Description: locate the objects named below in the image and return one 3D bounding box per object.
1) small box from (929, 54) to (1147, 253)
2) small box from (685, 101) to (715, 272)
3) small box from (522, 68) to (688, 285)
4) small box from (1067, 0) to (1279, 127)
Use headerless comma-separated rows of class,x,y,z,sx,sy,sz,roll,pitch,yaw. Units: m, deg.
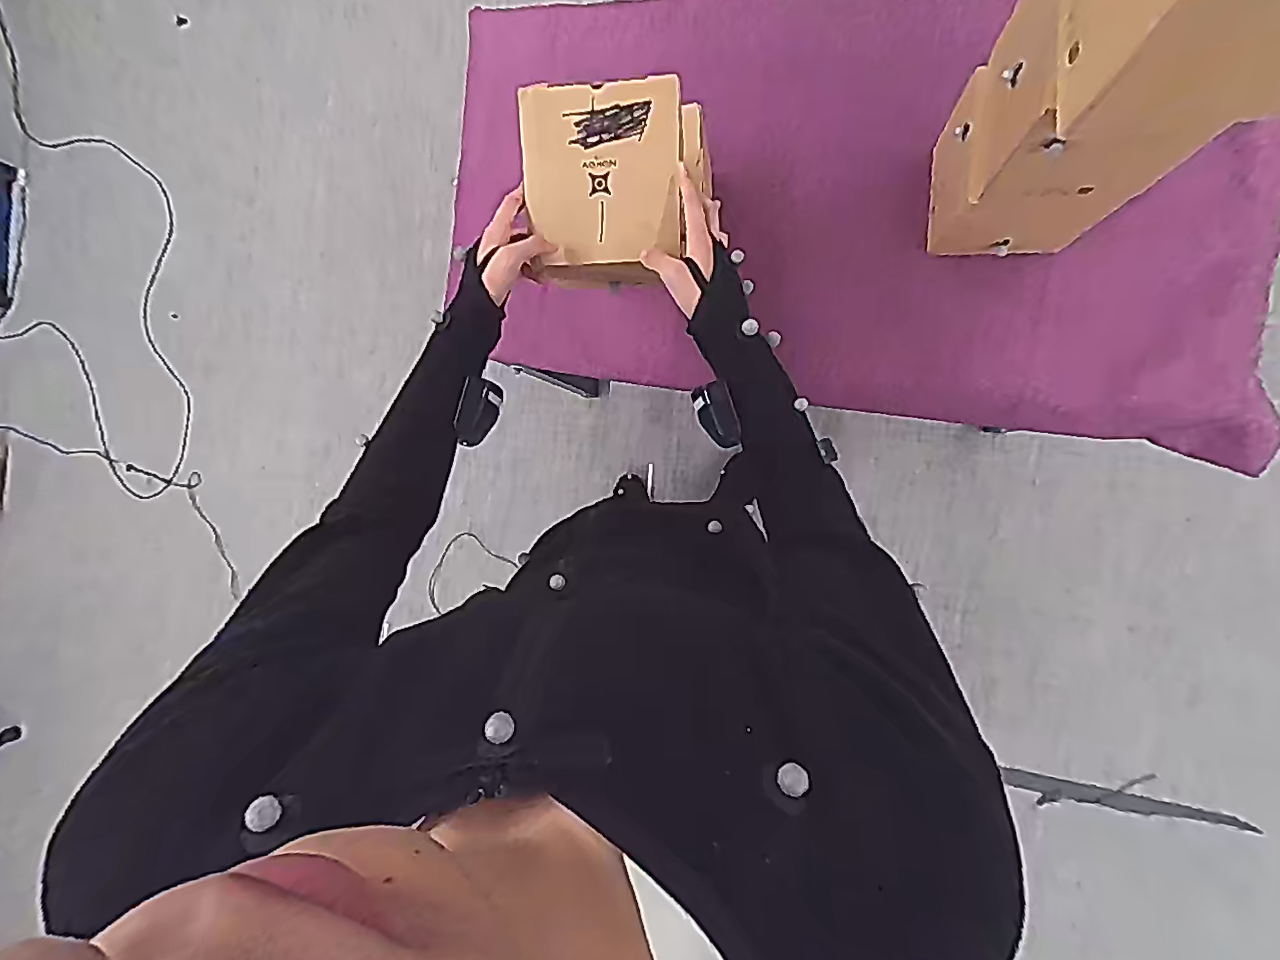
small box,0.503,-0.409,0.702,0.179,0.176,0.168,4,92,12
small box,0.018,-0.417,0.807,0.179,0.176,0.168,-1,90,12
small box,-0.030,-0.332,0.626,0.168,0.176,0.179,0,102,6
small box,0.441,-0.383,0.381,0.179,0.176,0.168,1,91,12
